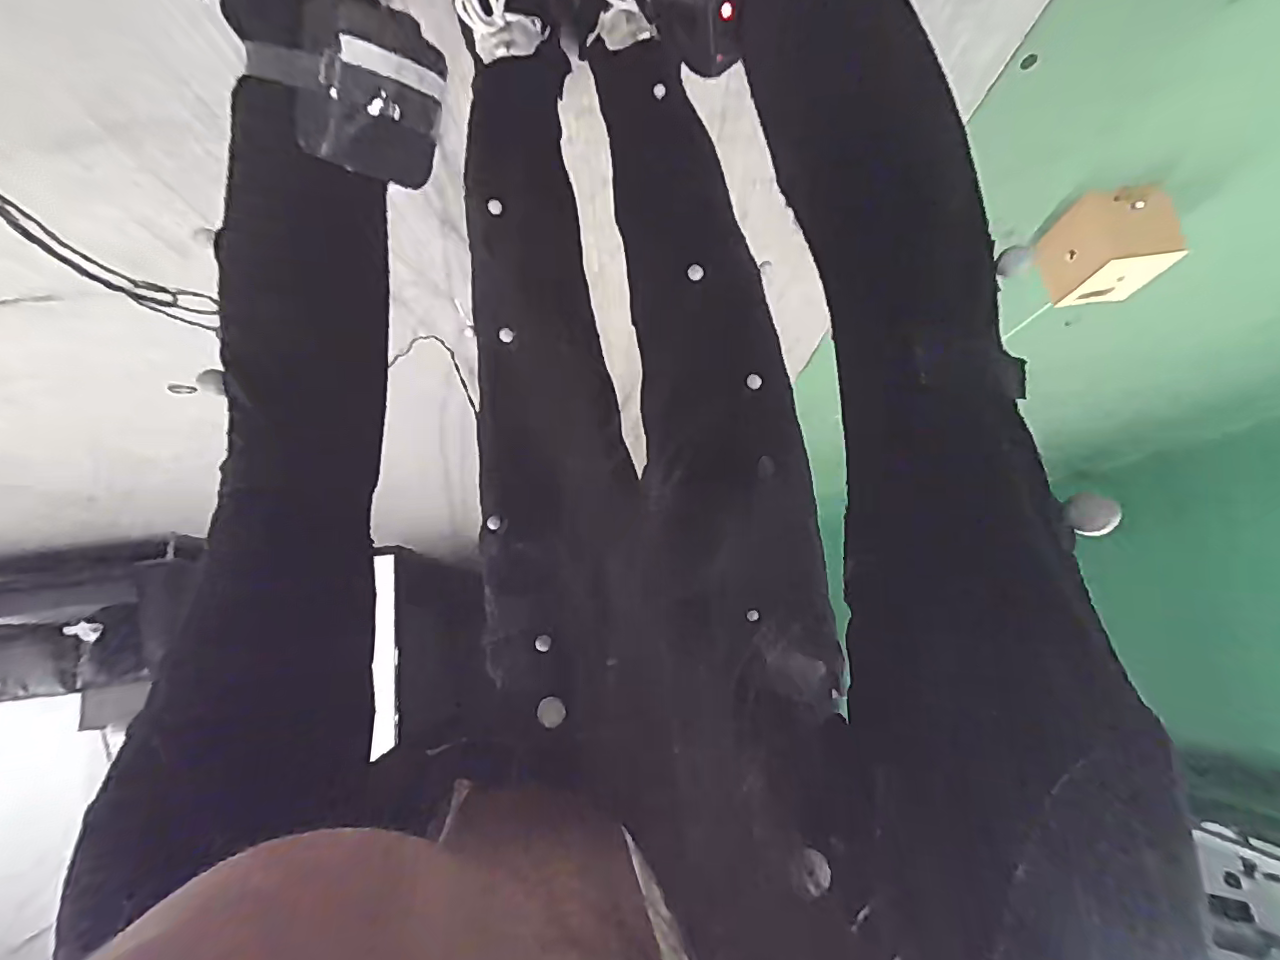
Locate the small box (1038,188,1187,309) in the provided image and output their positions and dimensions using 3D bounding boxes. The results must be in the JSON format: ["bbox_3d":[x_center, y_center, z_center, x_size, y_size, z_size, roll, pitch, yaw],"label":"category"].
[{"bbox_3d":[1.025,-0.507,1.195,0.168,0.176,0.179,-7,165,1],"label":"small box"}]
